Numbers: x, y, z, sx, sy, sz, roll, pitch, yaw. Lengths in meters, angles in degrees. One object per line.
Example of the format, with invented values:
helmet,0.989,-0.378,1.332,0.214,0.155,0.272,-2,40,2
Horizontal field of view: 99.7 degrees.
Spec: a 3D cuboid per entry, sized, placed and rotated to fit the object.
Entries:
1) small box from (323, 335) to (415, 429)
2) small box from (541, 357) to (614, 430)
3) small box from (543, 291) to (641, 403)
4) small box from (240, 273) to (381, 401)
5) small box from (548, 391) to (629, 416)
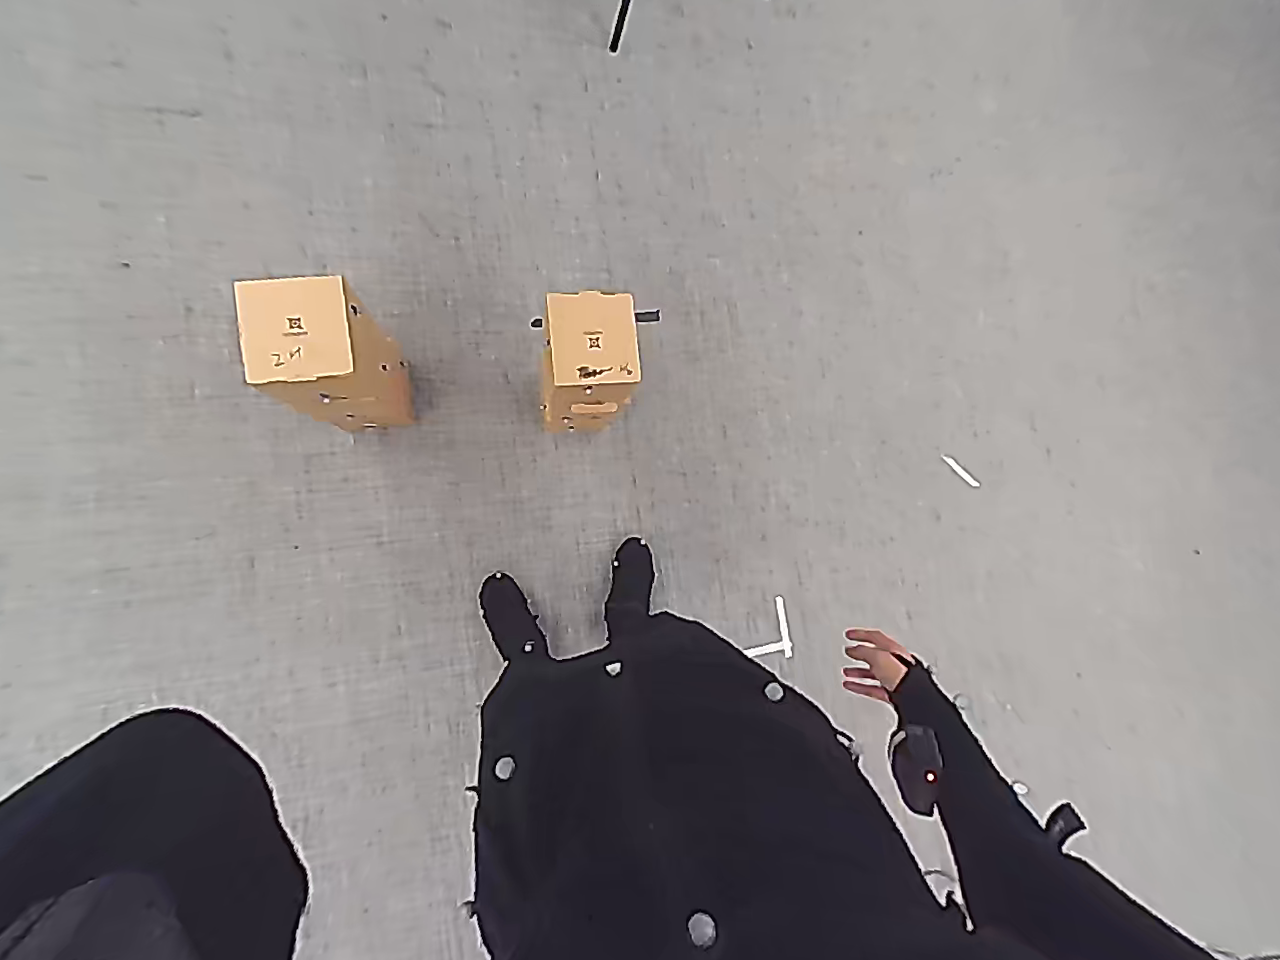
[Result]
small box,-0.650,-0.230,1.300,0.168,0.176,0.179,-8,87,-12
small box,-0.168,-0.232,1.409,0.168,0.176,0.179,-4,87,-13
small box,-0.103,-0.261,1.088,0.168,0.176,0.179,-4,85,-13
small box,-0.585,-0.252,0.980,0.168,0.176,0.179,-8,88,-12
small box,-0.125,-0.247,1.251,0.168,0.176,0.179,-4,86,-14
